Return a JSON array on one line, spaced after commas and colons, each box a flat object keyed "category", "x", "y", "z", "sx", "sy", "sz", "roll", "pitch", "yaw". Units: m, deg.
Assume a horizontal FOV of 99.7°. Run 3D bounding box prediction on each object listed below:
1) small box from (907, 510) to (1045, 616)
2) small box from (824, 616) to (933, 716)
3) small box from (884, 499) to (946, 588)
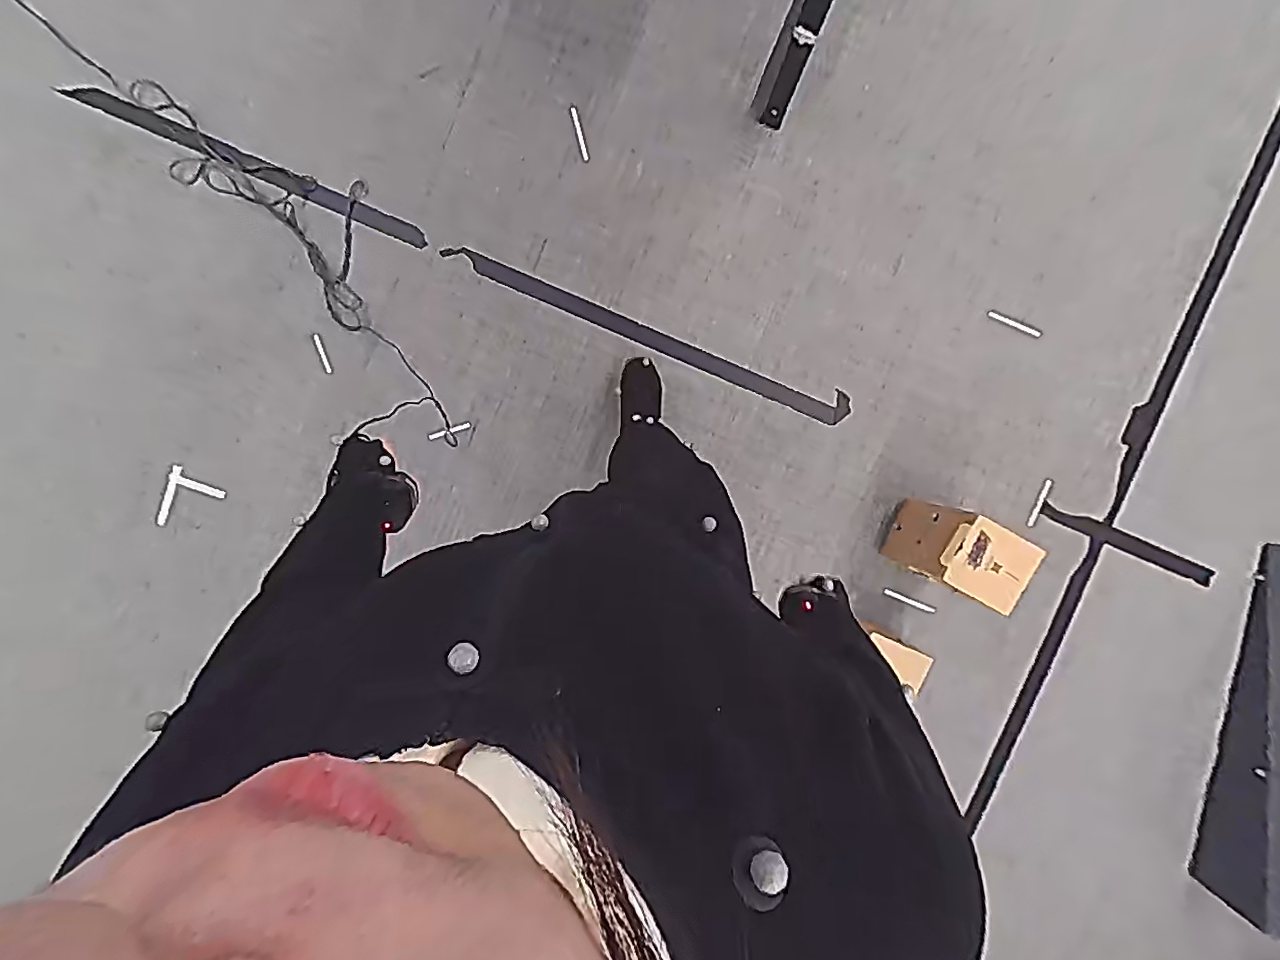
[{"category": "small box", "x": 0.761, "y": 0.180, "z": 1.247, "sx": 0.179, "sy": 0.176, "sz": 0.168, "roll": 29, "pitch": 94, "yaw": -3}, {"category": "small box", "x": 0.623, "y": 0.483, "z": 1.434, "sx": 0.179, "sy": 0.176, "sz": 0.168, "roll": 24, "pitch": 93, "yaw": -2}, {"category": "small box", "x": 0.768, "y": 0.167, "z": 1.411, "sx": 0.168, "sy": 0.176, "sz": 0.179, "roll": 24, "pitch": 95, "yaw": -2}]
